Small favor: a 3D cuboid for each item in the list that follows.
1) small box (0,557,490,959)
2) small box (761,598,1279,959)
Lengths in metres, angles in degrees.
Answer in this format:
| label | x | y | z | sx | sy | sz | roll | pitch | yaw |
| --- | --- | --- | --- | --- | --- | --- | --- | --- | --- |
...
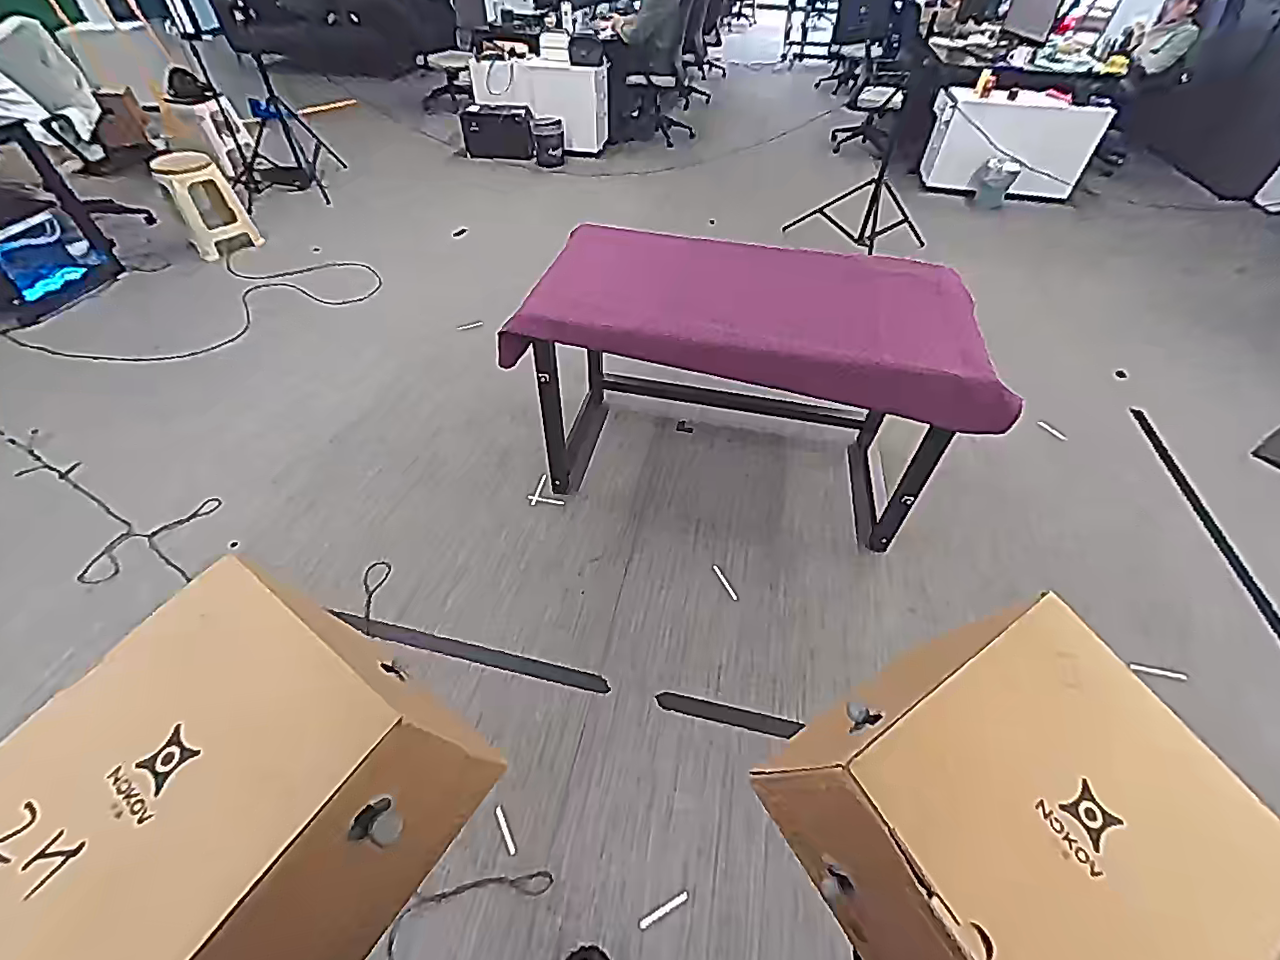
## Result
| label | x | y | z | sx | sy | sz | roll | pitch | yaw |
| --- | --- | --- | --- | --- | --- | --- | --- | --- | --- |
| small box | -0.214 | 0.185 | 0.325 | 0.168 | 0.176 | 0.179 | 27 | 63 | 24 |
| small box | 0.206 | 0.204 | 0.334 | 0.179 | 0.176 | 0.168 | -28 | 68 | -20 |
